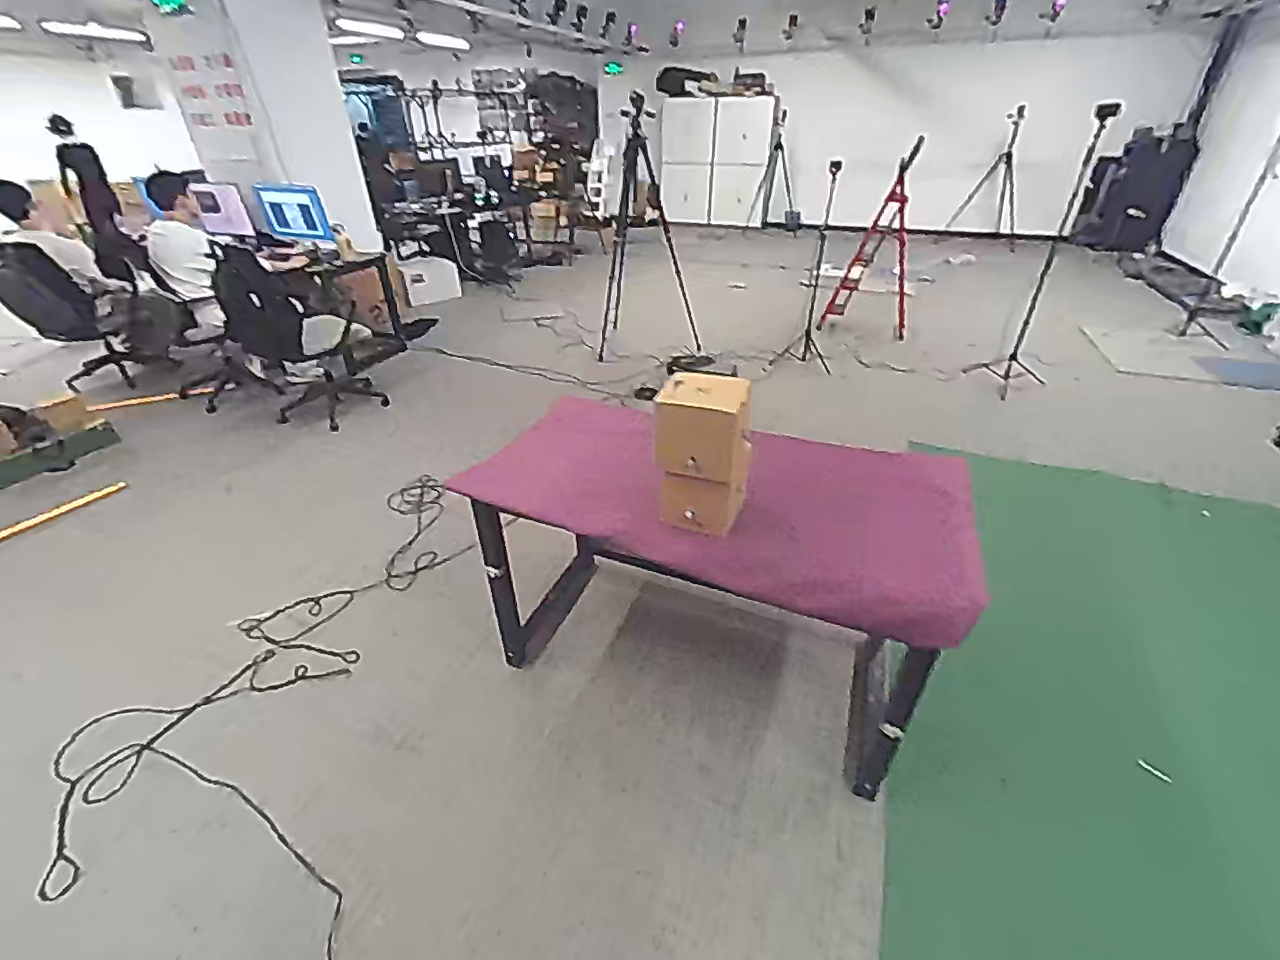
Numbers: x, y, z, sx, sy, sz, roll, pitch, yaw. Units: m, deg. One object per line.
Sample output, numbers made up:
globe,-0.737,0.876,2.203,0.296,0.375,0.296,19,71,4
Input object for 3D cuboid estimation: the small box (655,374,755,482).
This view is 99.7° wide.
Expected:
small box,0.141,-0.113,1.177,0.179,0.176,0.168,11,35,18

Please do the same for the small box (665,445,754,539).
small box,0.162,0.012,1.284,0.168,0.176,0.179,13,36,21
